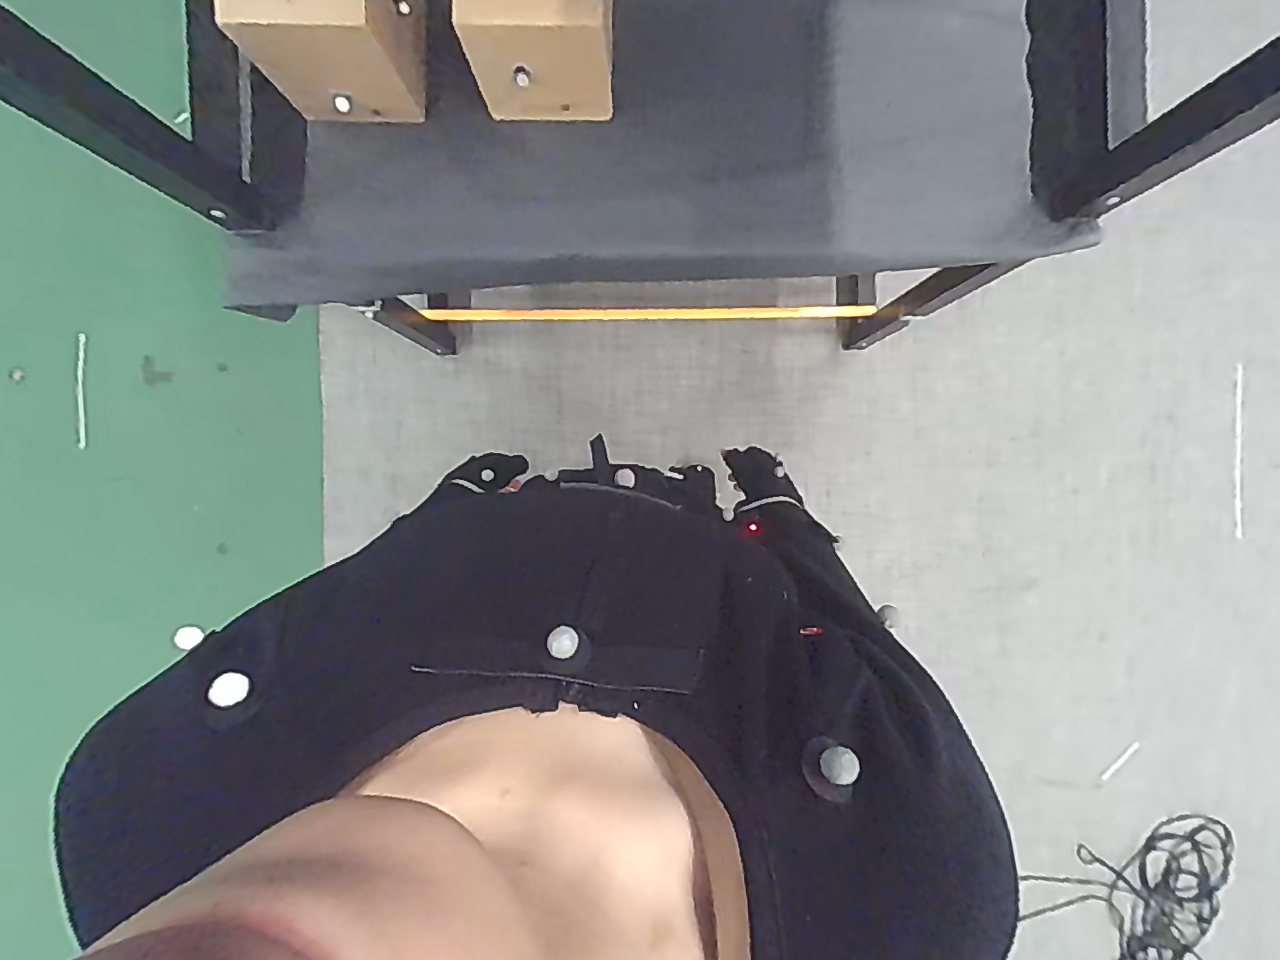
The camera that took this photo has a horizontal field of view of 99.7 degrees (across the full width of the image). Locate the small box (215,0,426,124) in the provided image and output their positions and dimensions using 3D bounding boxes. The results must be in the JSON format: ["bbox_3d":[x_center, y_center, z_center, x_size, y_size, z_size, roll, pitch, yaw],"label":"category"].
[{"bbox_3d":[-0.376,-0.580,0.663,0.168,0.176,0.179,0,92,0],"label":"small box"}]

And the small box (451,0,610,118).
[{"bbox_3d":[-0.123,-0.582,0.667,0.168,0.176,0.179,0,91,0],"label":"small box"}]
